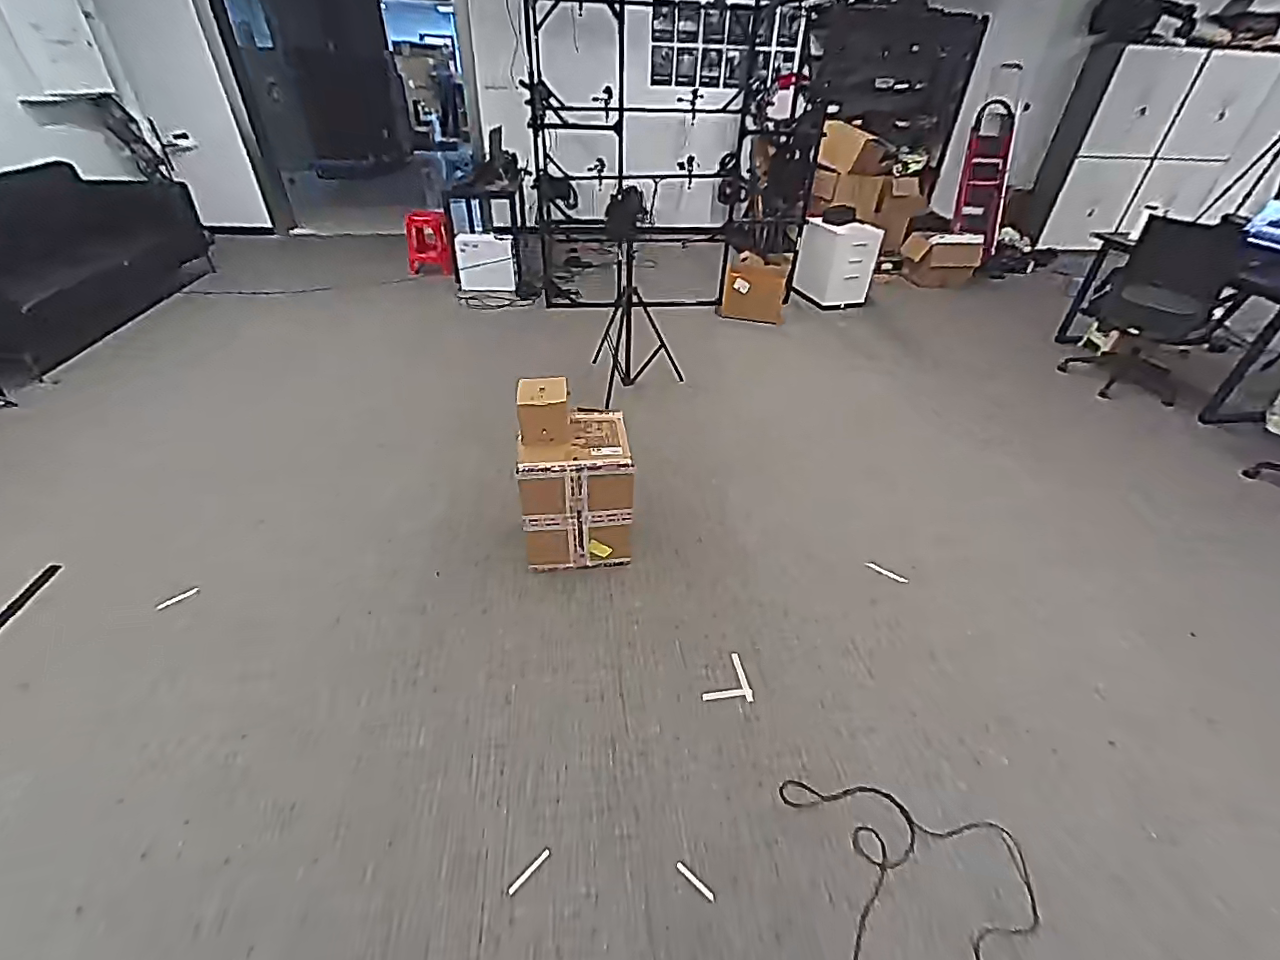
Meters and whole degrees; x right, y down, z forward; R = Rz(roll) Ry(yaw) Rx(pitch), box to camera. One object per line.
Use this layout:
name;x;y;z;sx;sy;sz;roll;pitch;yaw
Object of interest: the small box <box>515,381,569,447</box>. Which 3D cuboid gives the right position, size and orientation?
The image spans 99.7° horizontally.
small box;-0.342;-0.232;1.905;0.168;0.176;0.179;-4;40;-5
